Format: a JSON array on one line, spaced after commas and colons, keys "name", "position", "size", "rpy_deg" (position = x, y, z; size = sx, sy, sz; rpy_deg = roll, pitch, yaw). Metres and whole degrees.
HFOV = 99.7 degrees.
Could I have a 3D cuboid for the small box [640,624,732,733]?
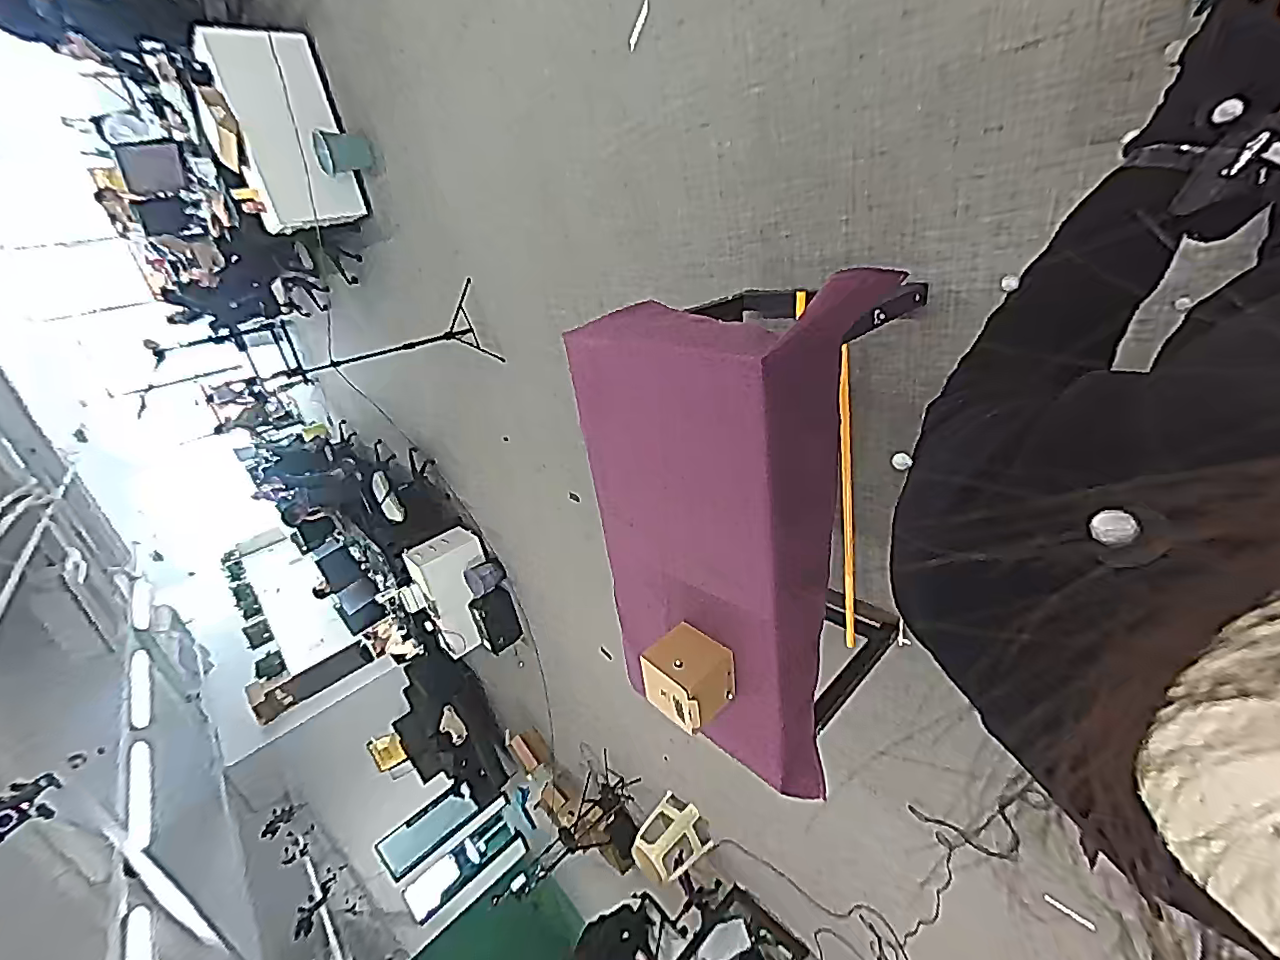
[{"name": "small box", "position": [0.127, 0.509, 1.413], "size": [0.179, 0.176, 0.168], "rpy_deg": [22, 130, 44]}]
